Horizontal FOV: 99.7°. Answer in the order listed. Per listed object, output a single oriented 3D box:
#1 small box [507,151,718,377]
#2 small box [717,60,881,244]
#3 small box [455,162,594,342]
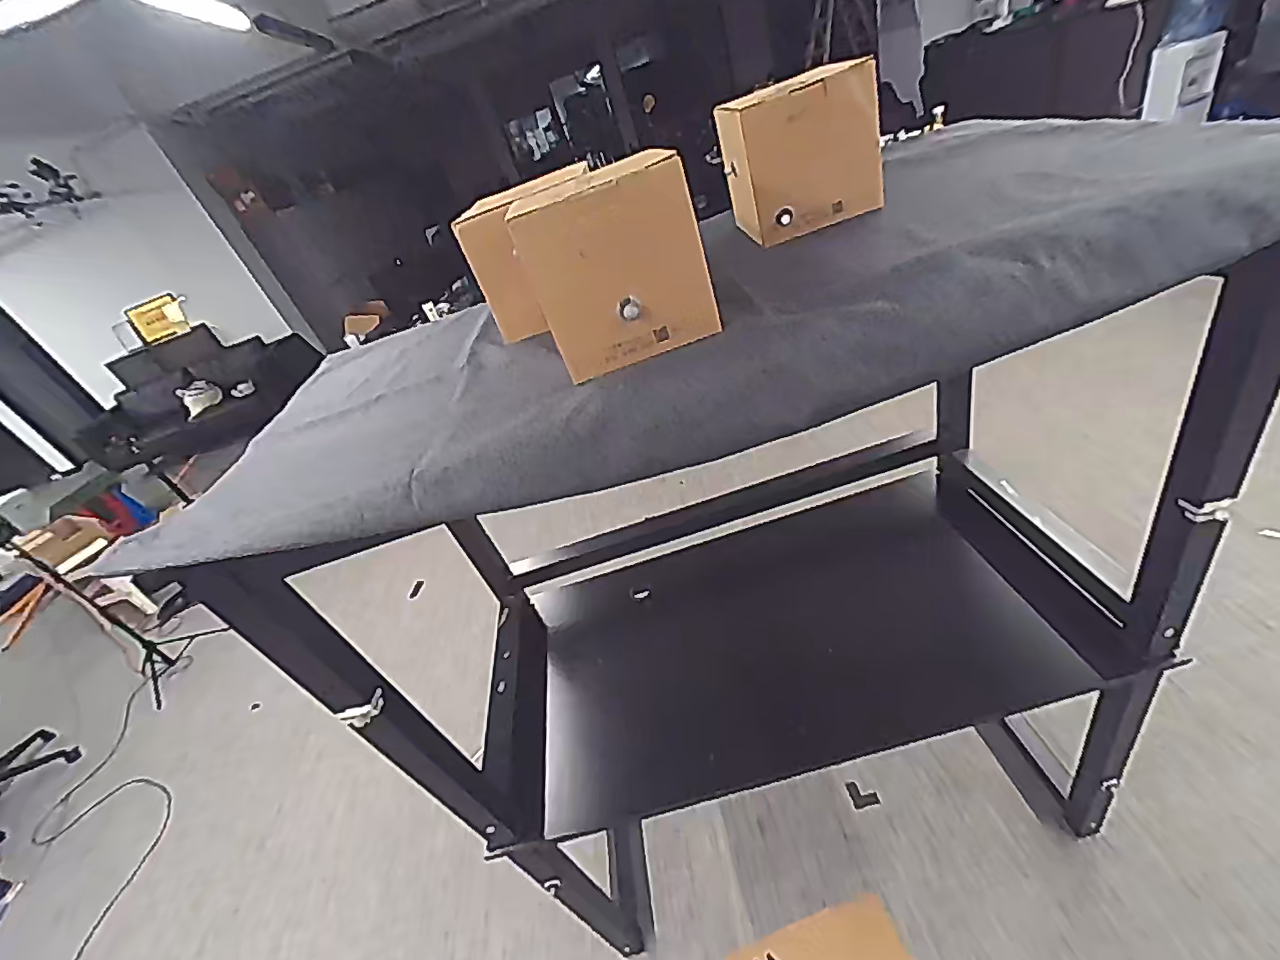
[{"bbox_3d":[-0.027,-0.234,0.586,0.168,0.176,0.179,-19,33,4],"label":"small box"},{"bbox_3d":[0.218,-0.447,0.750,0.168,0.176,0.179,-17,34,7],"label":"small box"},{"bbox_3d":[-0.126,-0.321,0.766,0.179,0.176,0.168,-16,35,9],"label":"small box"}]
